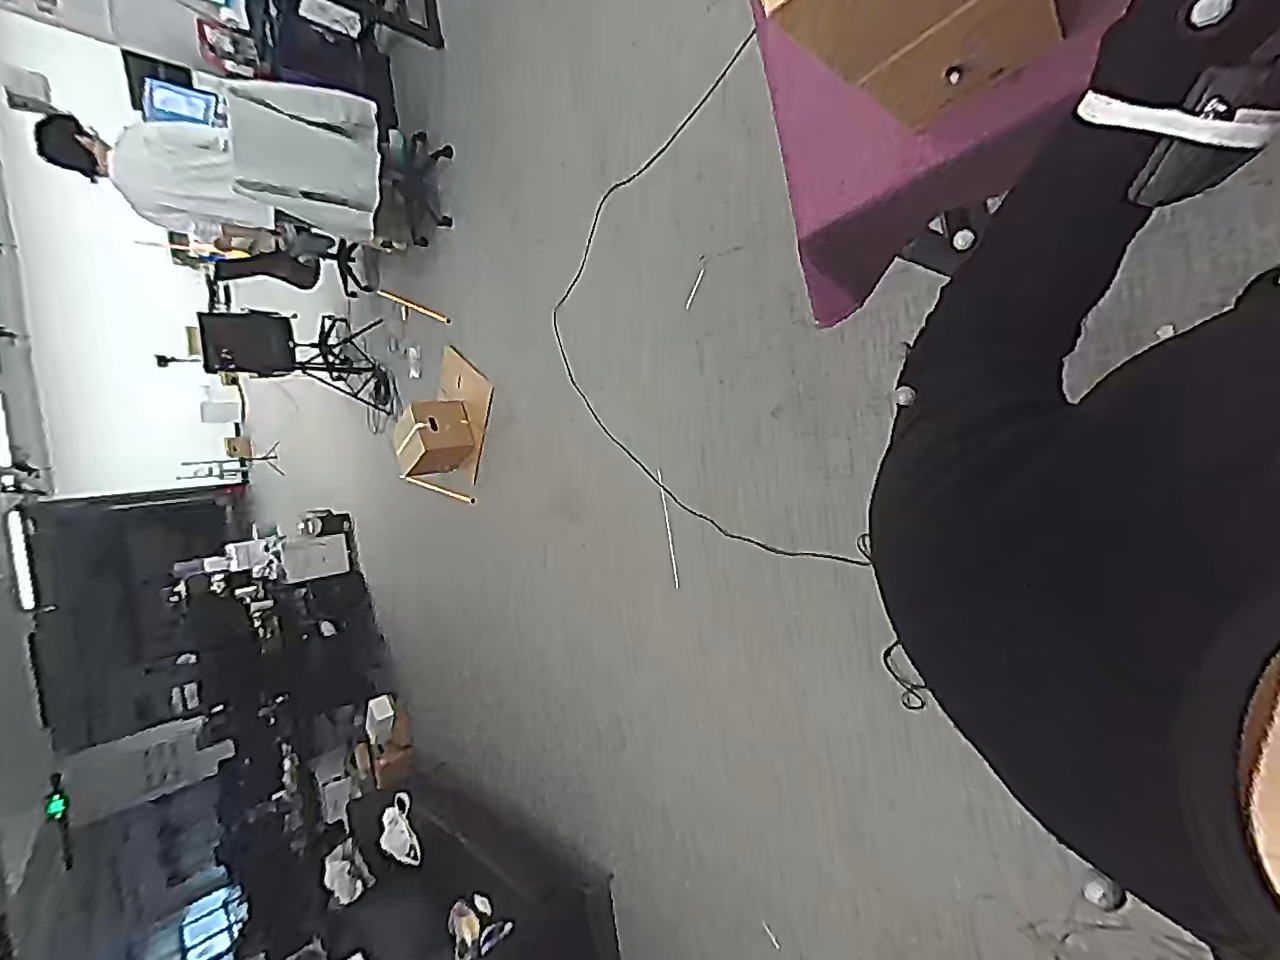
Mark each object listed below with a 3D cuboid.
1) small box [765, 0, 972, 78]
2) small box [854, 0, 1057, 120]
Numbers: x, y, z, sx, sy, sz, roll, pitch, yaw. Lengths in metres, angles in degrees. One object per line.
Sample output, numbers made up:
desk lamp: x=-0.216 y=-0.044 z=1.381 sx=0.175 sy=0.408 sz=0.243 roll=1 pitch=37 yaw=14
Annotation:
small box: x=0.223 y=-0.528 z=0.498 sx=0.179 sy=0.176 sz=0.168 roll=-12 pitch=87 yaw=47
small box: x=0.343 y=-0.546 z=0.609 sx=0.168 sy=0.176 sz=0.179 roll=-12 pitch=87 yaw=47
